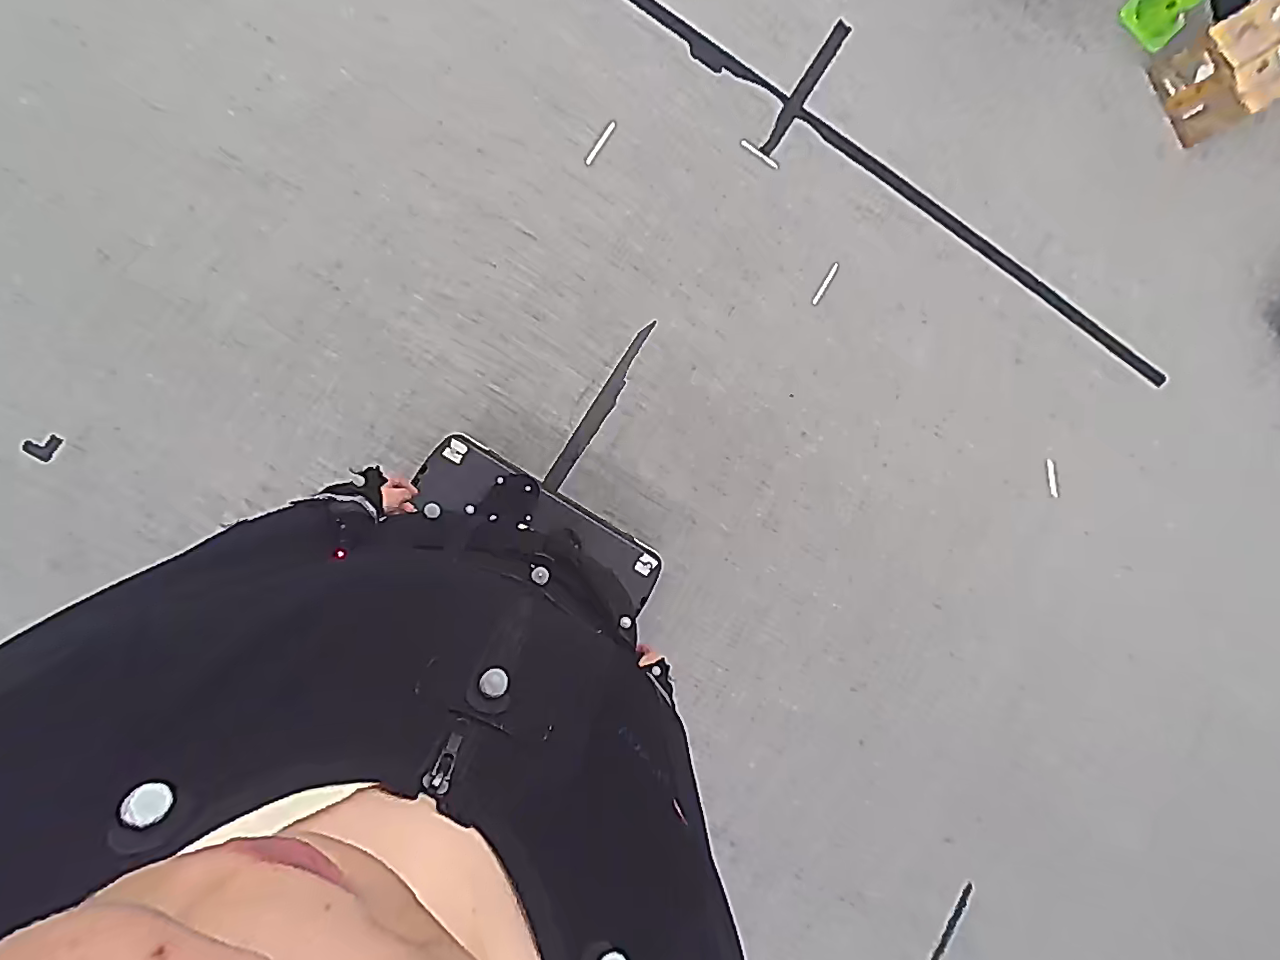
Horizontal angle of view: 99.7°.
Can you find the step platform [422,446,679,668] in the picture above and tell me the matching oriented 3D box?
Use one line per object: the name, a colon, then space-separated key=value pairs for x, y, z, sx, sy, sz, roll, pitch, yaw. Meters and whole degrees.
step platform: x=-0.230 y=0.205 z=1.460 sx=0.684 sy=0.204 sz=0.286 roll=37 pitch=84 yaw=-6
